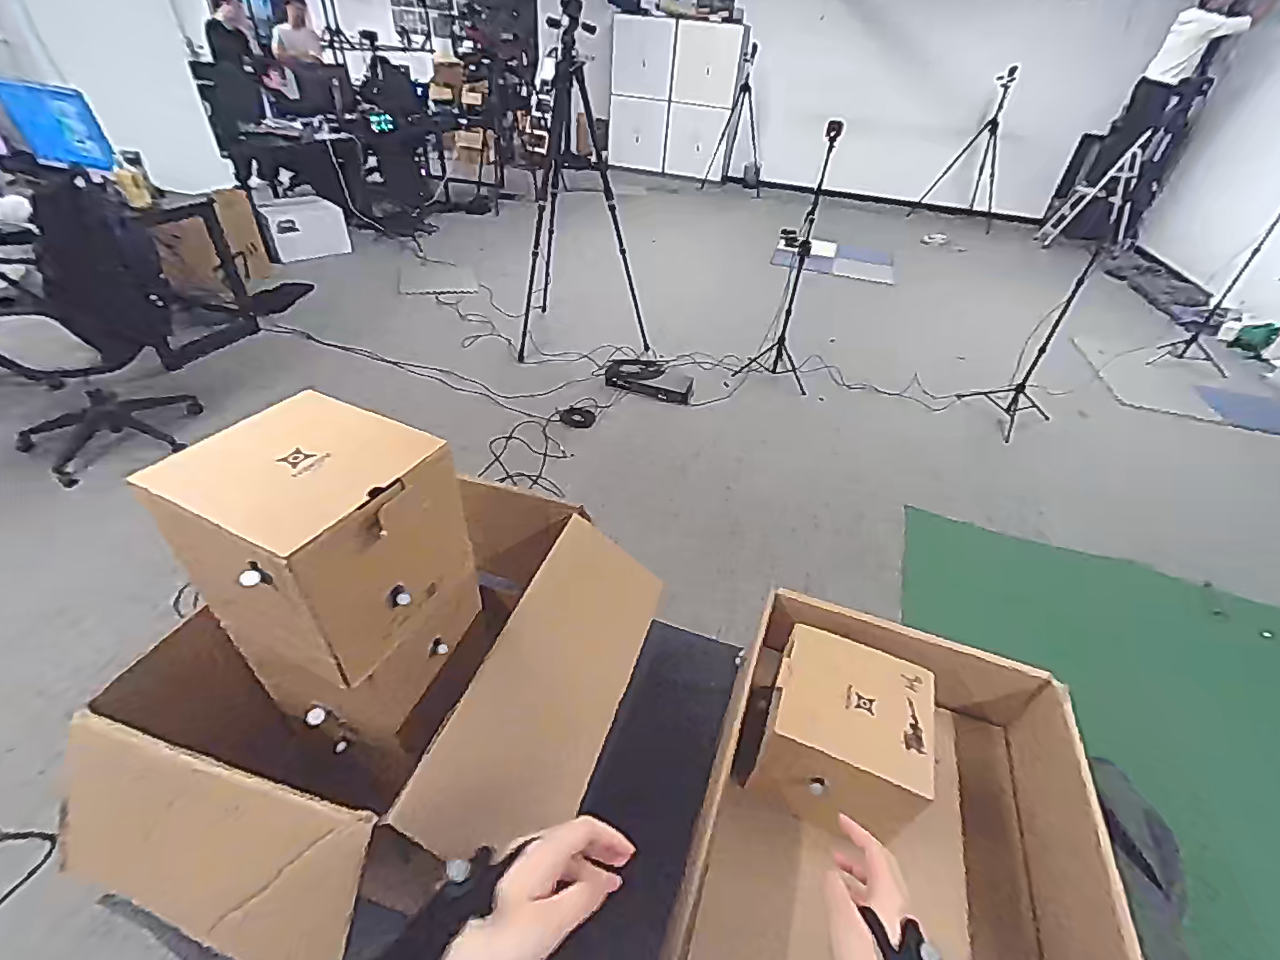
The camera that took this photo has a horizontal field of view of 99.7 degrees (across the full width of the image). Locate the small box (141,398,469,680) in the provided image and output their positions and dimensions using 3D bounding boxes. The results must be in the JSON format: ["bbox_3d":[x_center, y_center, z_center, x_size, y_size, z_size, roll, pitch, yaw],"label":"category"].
[{"bbox_3d":[-0.284,0.051,0.501,0.179,0.176,0.168,20,41,16],"label":"small box"}]
